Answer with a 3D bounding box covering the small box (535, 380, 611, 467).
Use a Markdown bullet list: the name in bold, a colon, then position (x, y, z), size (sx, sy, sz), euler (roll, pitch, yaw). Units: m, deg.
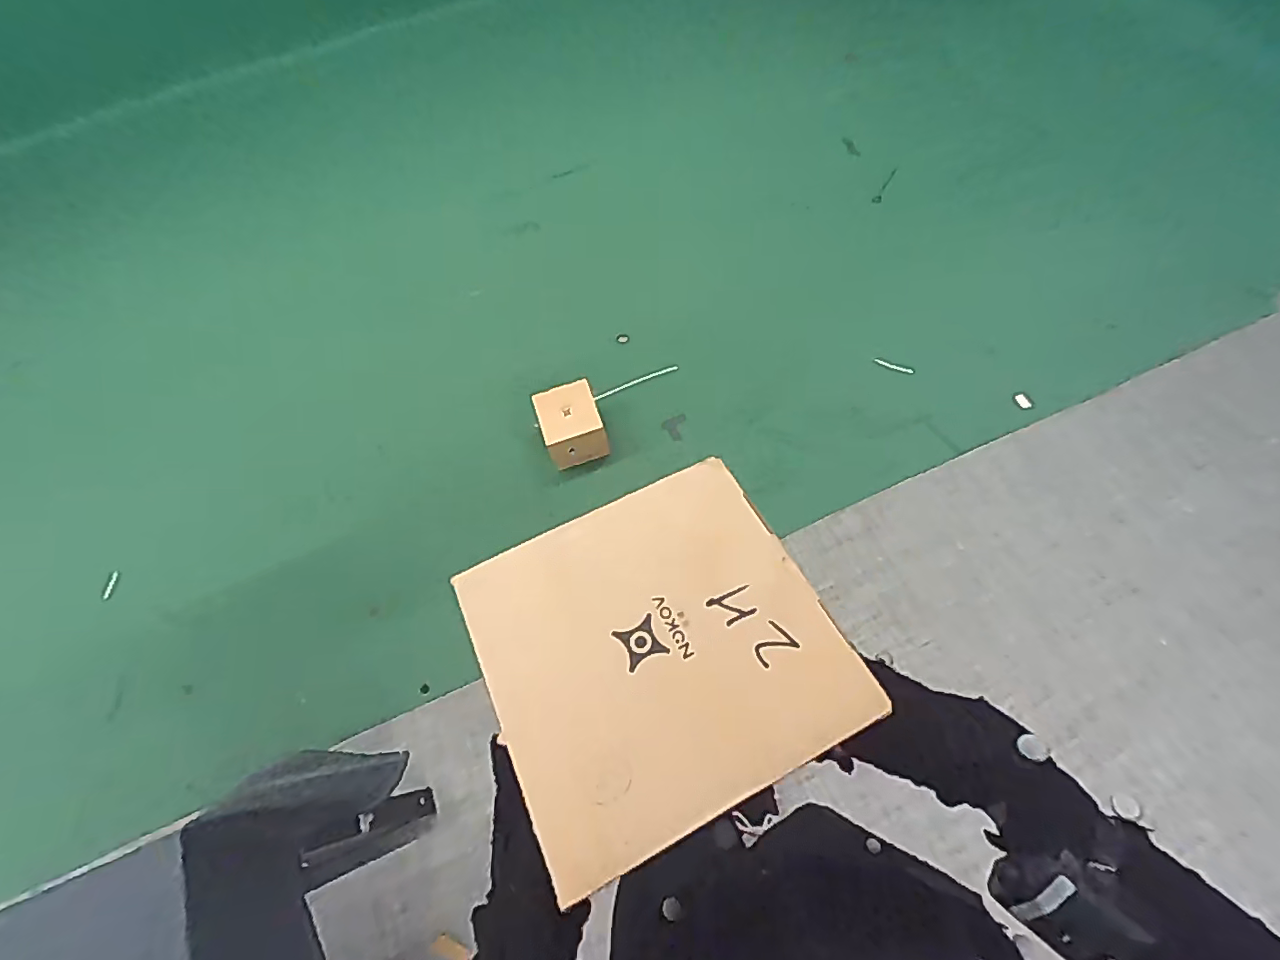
- **small box**: position (-0.192, -0.155, 1.582), size (0.168, 0.176, 0.179), euler (-19, 64, -4)
